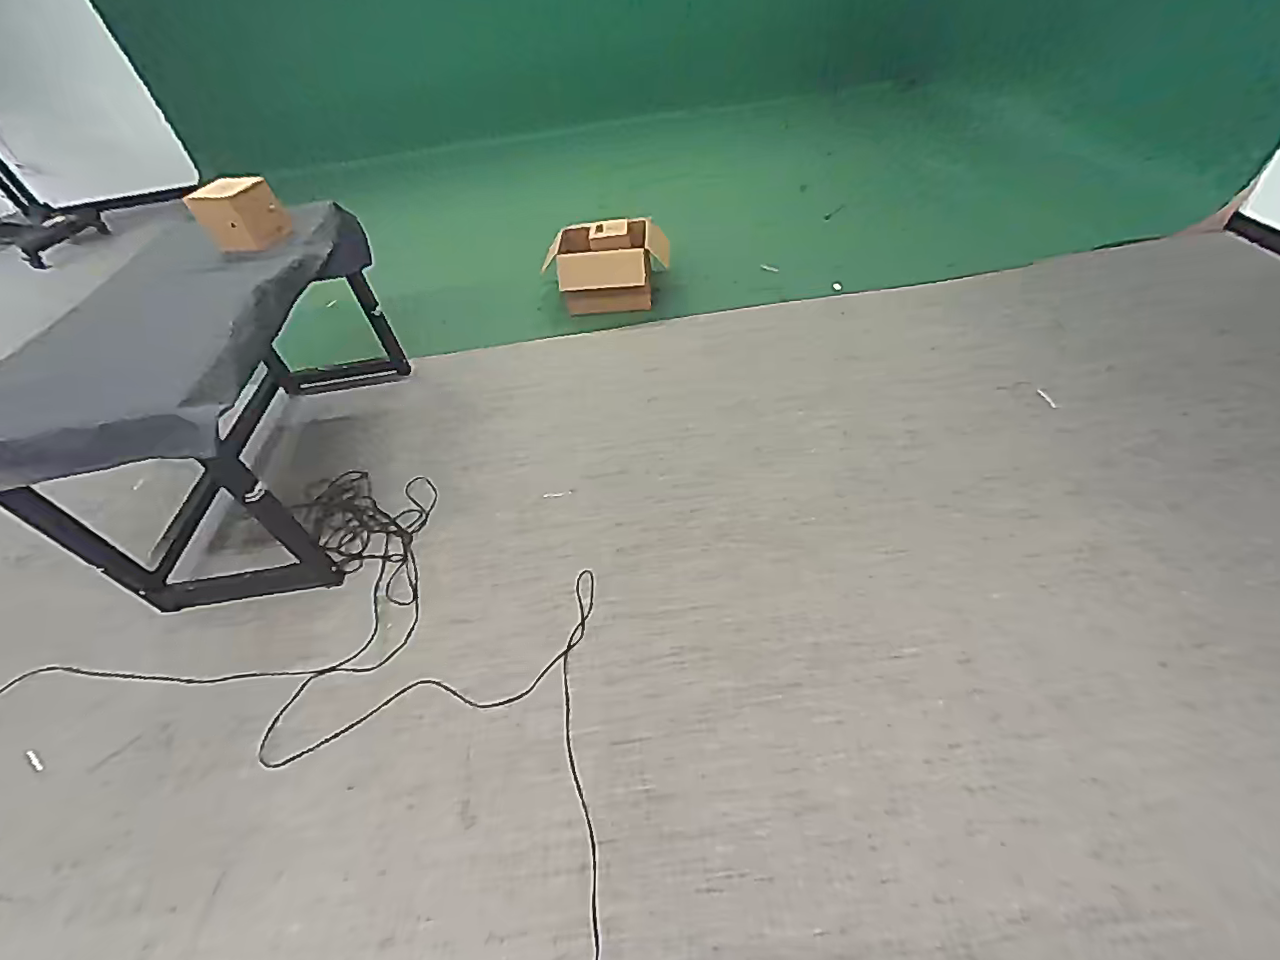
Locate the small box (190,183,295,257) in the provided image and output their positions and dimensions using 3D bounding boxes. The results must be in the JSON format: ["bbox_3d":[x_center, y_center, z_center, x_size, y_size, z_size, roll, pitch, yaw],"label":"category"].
[{"bbox_3d":[-1.269,-0.834,1.743,0.179,0.176,0.168,4,47,14],"label":"small box"}]
